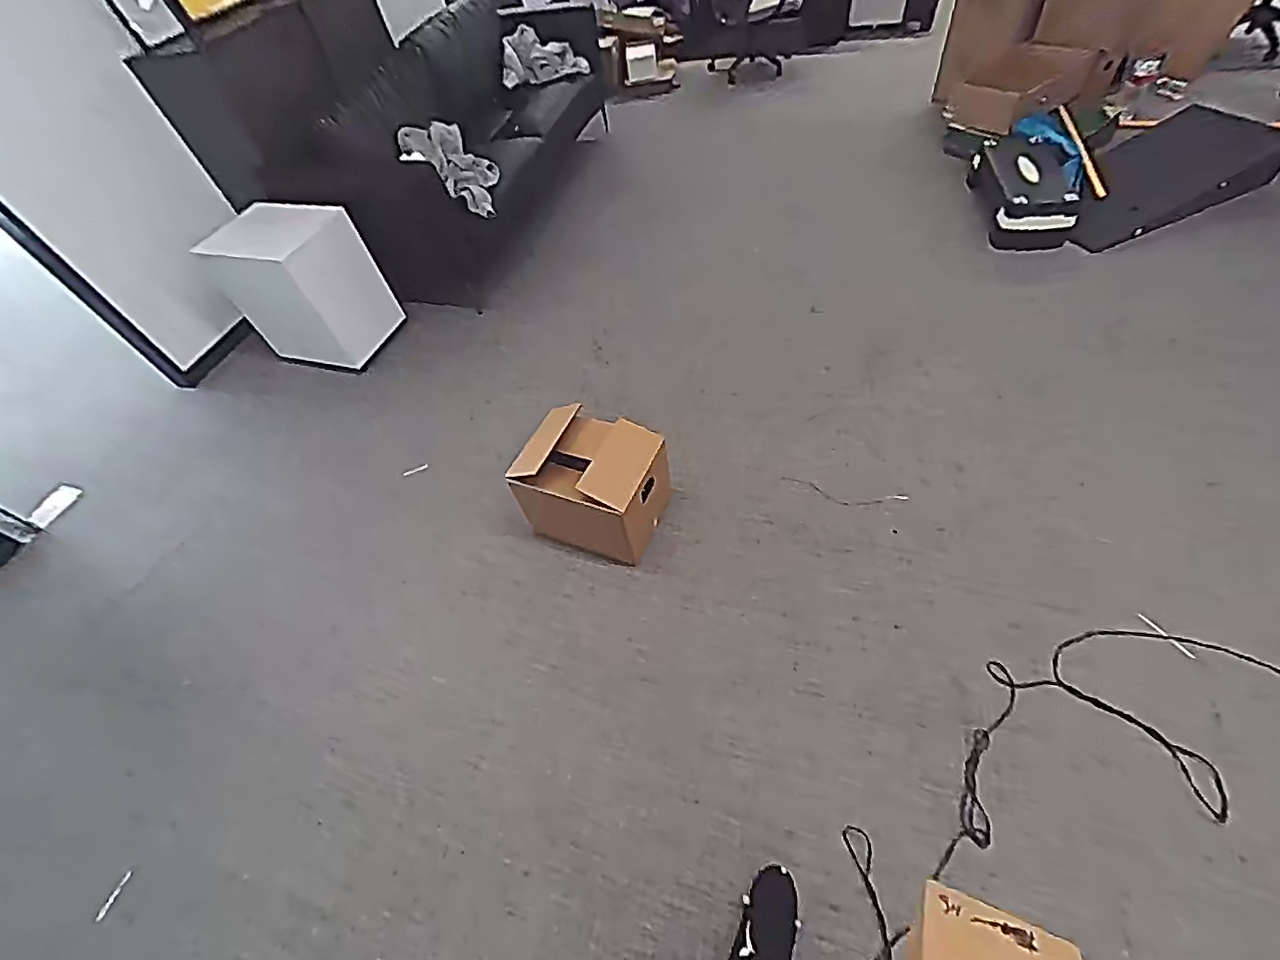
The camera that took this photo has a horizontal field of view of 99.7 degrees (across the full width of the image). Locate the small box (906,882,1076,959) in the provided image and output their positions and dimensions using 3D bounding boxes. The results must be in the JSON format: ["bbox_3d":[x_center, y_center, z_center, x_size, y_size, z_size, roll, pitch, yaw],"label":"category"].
[{"bbox_3d":[0.407,0.642,0.634,0.168,0.176,0.179,8,22,26],"label":"small box"}]
